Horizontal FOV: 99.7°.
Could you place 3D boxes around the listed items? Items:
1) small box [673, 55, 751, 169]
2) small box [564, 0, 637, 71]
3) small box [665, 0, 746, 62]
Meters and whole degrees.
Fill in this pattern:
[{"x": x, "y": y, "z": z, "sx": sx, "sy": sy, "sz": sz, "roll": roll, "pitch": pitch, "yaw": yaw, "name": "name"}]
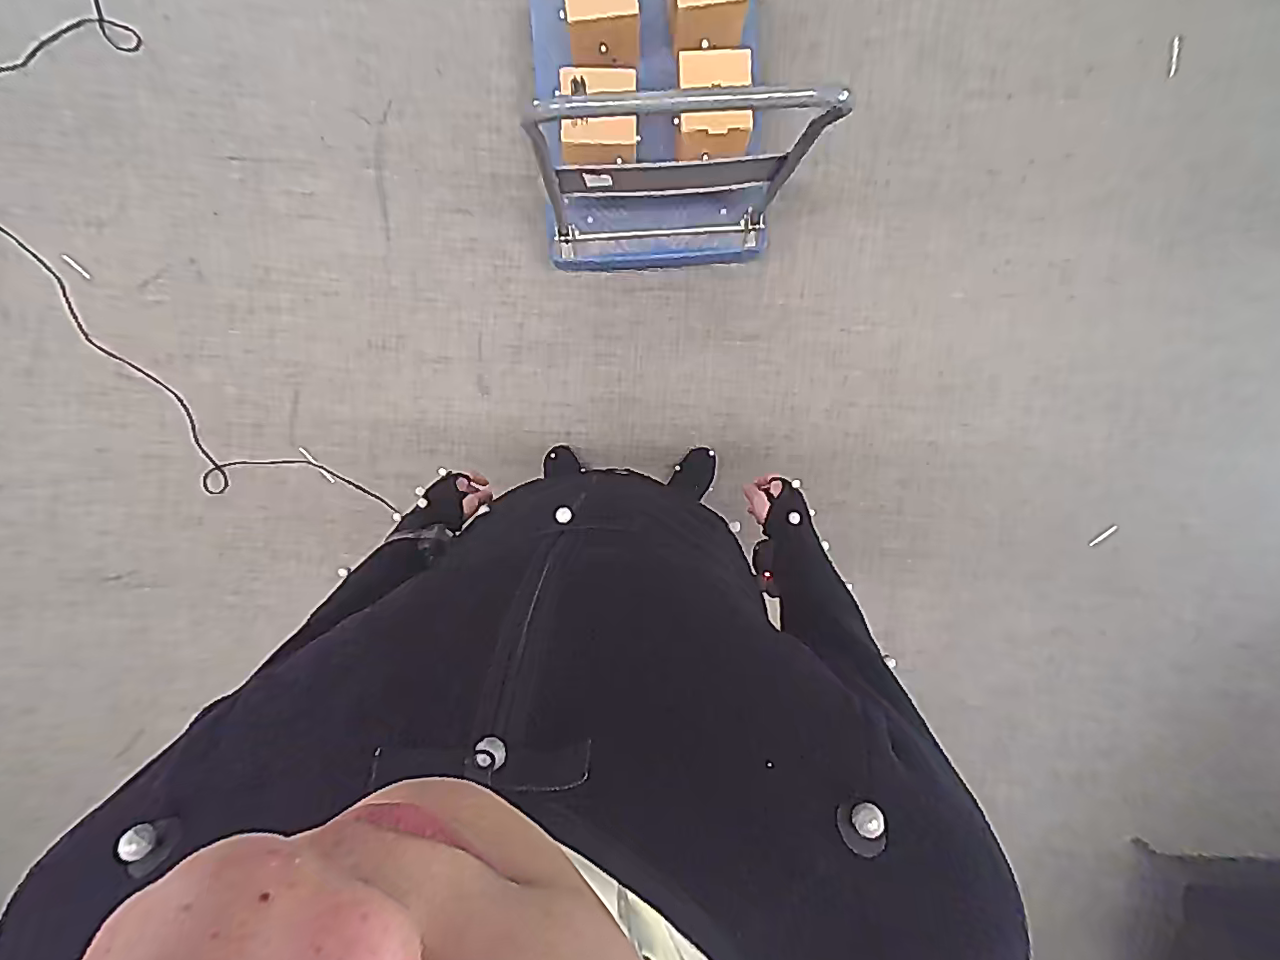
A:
[{"x": 0.172, "y": -0.898, "z": 1.332, "sx": 0.168, "sy": 0.176, "sz": 0.179, "roll": -3, "pitch": 95, "yaw": -1, "name": "small box"}, {"x": -0.097, "y": -1.132, "z": 1.309, "sx": 0.168, "sy": 0.176, "sz": 0.179, "roll": -8, "pitch": 94, "yaw": -1, "name": "small box"}, {"x": 0.152, "y": -1.167, "z": 1.310, "sx": 0.168, "sy": 0.176, "sz": 0.179, "roll": -7, "pitch": 95, "yaw": 1, "name": "small box"}]
